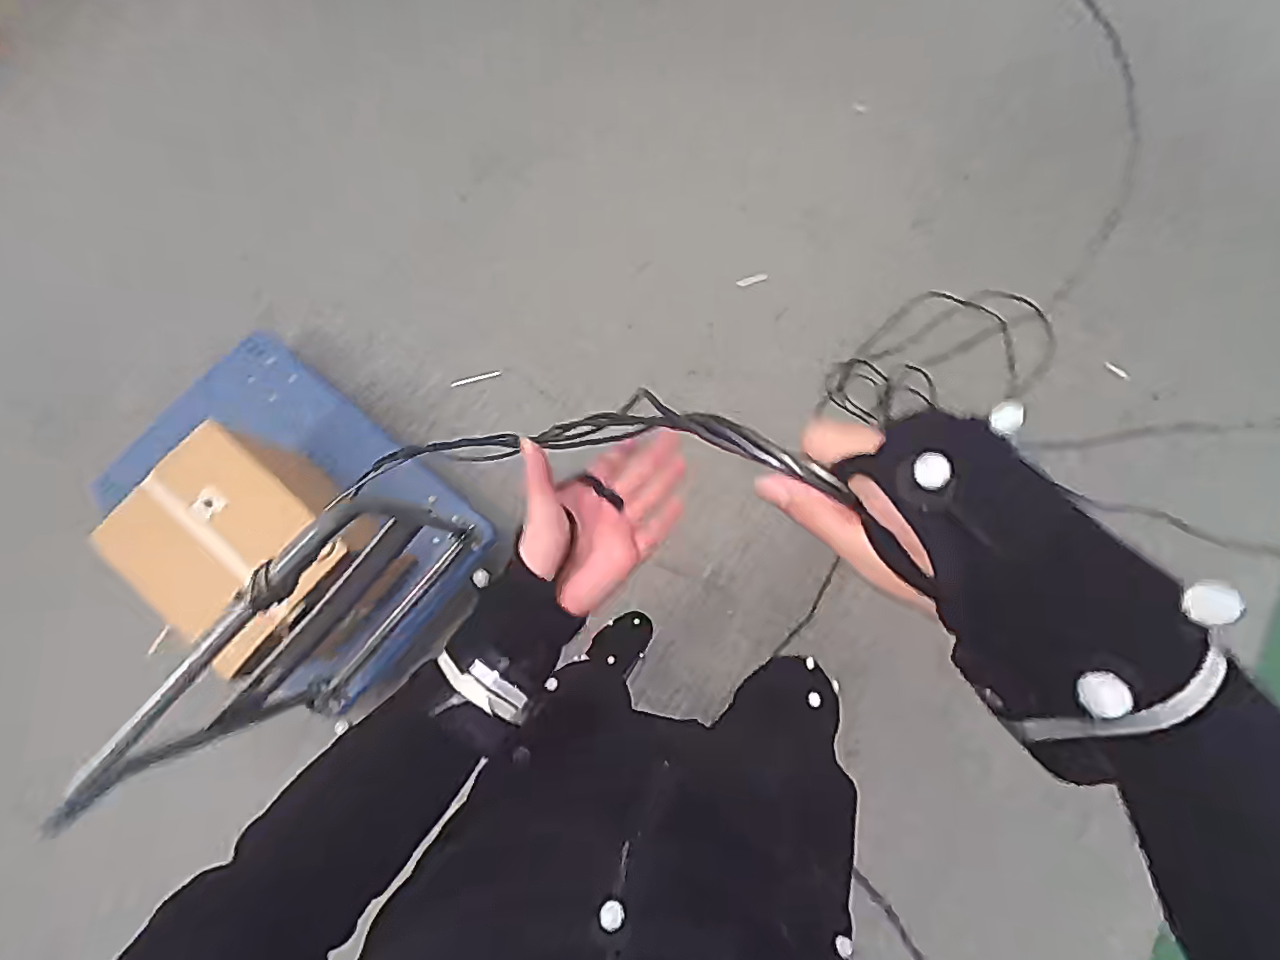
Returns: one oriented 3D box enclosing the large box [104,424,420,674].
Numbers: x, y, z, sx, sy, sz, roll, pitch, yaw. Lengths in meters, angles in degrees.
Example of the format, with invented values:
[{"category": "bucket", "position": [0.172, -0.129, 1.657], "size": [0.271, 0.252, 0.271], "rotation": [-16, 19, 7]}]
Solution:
[{"category": "large box", "position": [-0.778, 0.150, 1.175], "size": [0.408, 0.320, 0.320], "rotation": [39, 82, 8]}]
